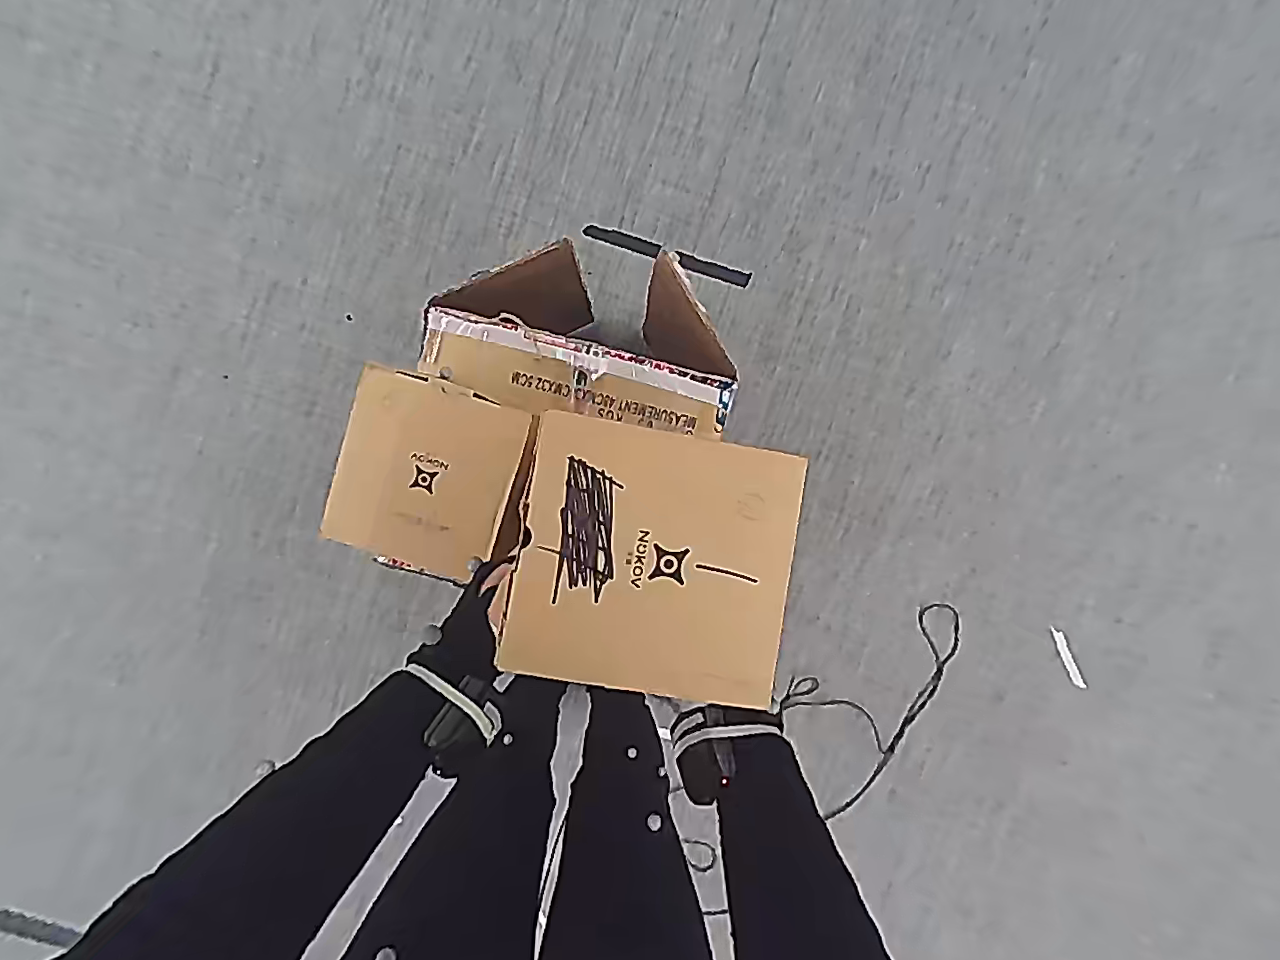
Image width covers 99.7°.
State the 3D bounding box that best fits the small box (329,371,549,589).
[{"bbox_3d":[-0.200,-0.007,0.598,0.168,0.176,0.179,17,97,-1],"label":"small box"}]

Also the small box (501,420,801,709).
[{"bbox_3d":[0.004,0.059,0.431,0.179,0.176,0.168,10,86,-4],"label":"small box"}]
